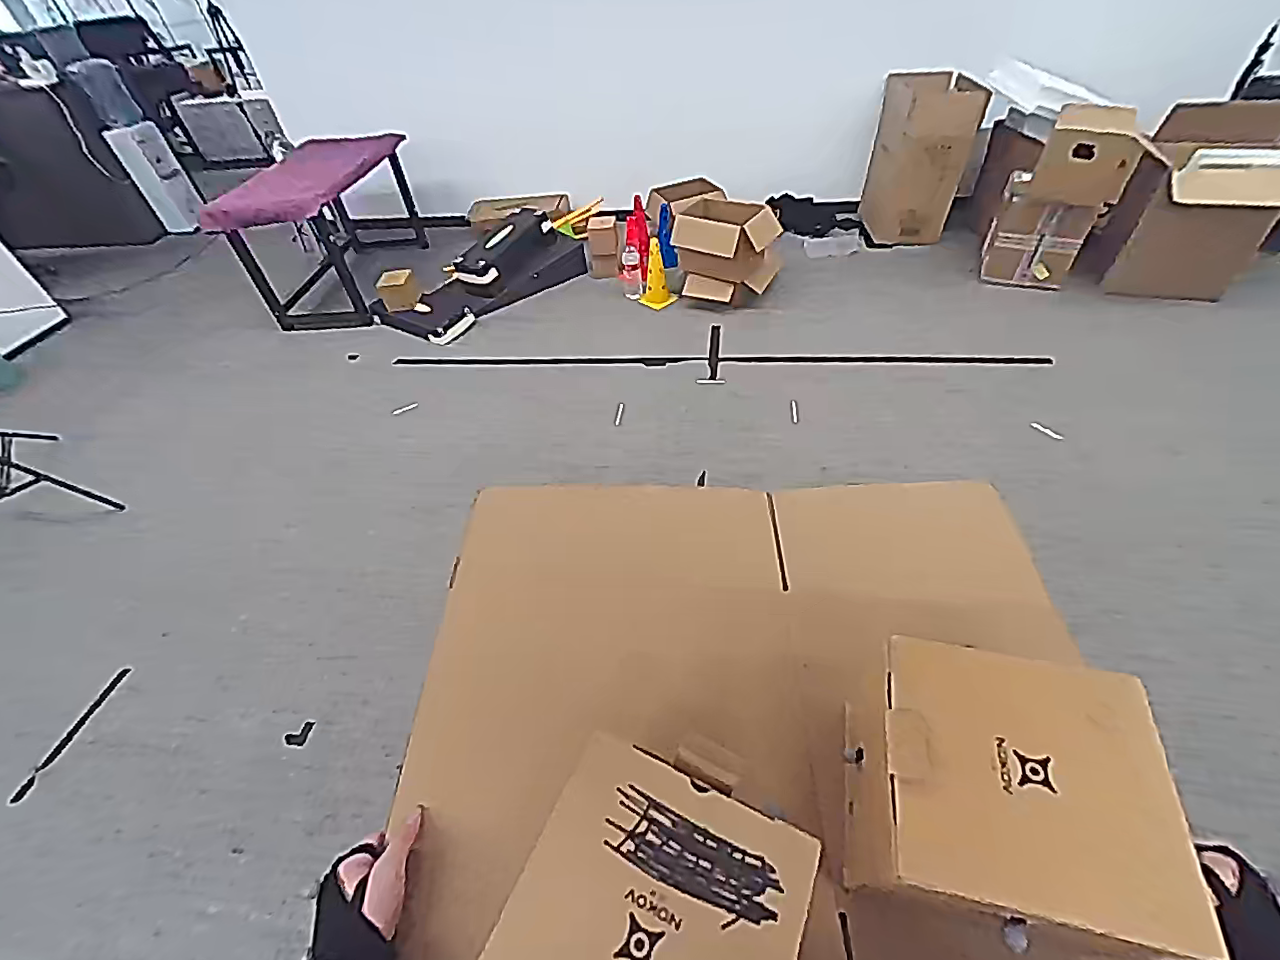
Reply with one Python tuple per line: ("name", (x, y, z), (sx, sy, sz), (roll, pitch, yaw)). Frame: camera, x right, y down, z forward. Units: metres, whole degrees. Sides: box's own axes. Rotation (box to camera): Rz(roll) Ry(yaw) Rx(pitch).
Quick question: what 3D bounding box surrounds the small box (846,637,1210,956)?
("small box", (0.277, 0.252, 0.441), (0.179, 0.176, 0.168), (6, 52, 14))
